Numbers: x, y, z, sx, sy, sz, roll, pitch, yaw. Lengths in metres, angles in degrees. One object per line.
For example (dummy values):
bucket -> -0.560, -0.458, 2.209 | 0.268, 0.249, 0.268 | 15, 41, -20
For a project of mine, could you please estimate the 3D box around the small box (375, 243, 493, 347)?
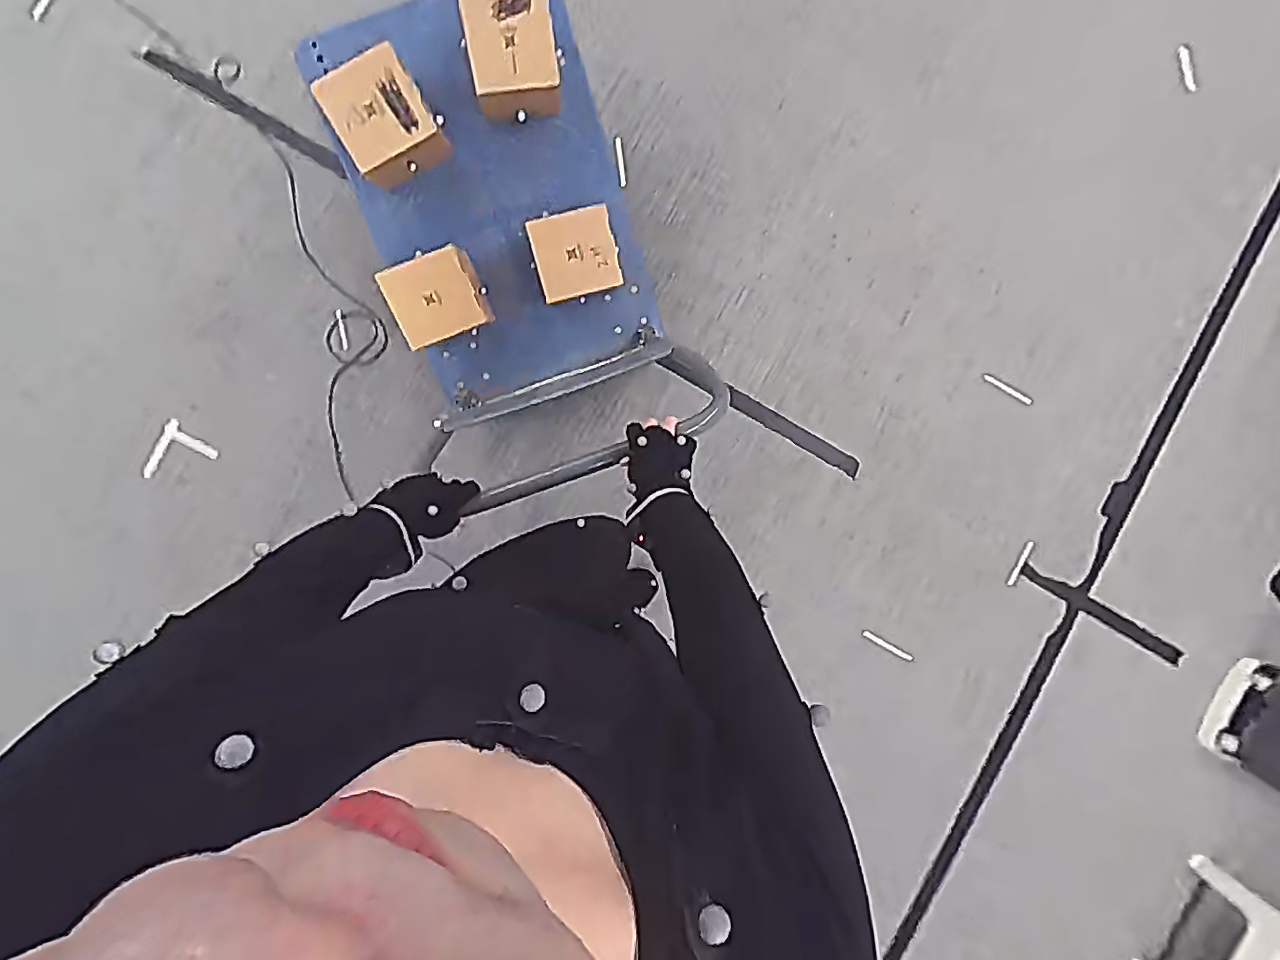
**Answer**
small box -> -0.447, -0.406, 1.207 | 0.179, 0.176, 0.168 | -23, 108, -2

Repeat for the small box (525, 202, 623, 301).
small box -> -0.145, -0.506, 1.218 | 0.179, 0.176, 0.168 | -15, 109, -3

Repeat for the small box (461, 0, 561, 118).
small box -> -0.256, -0.866, 1.092 | 0.168, 0.176, 0.179 | -9, 109, -5
